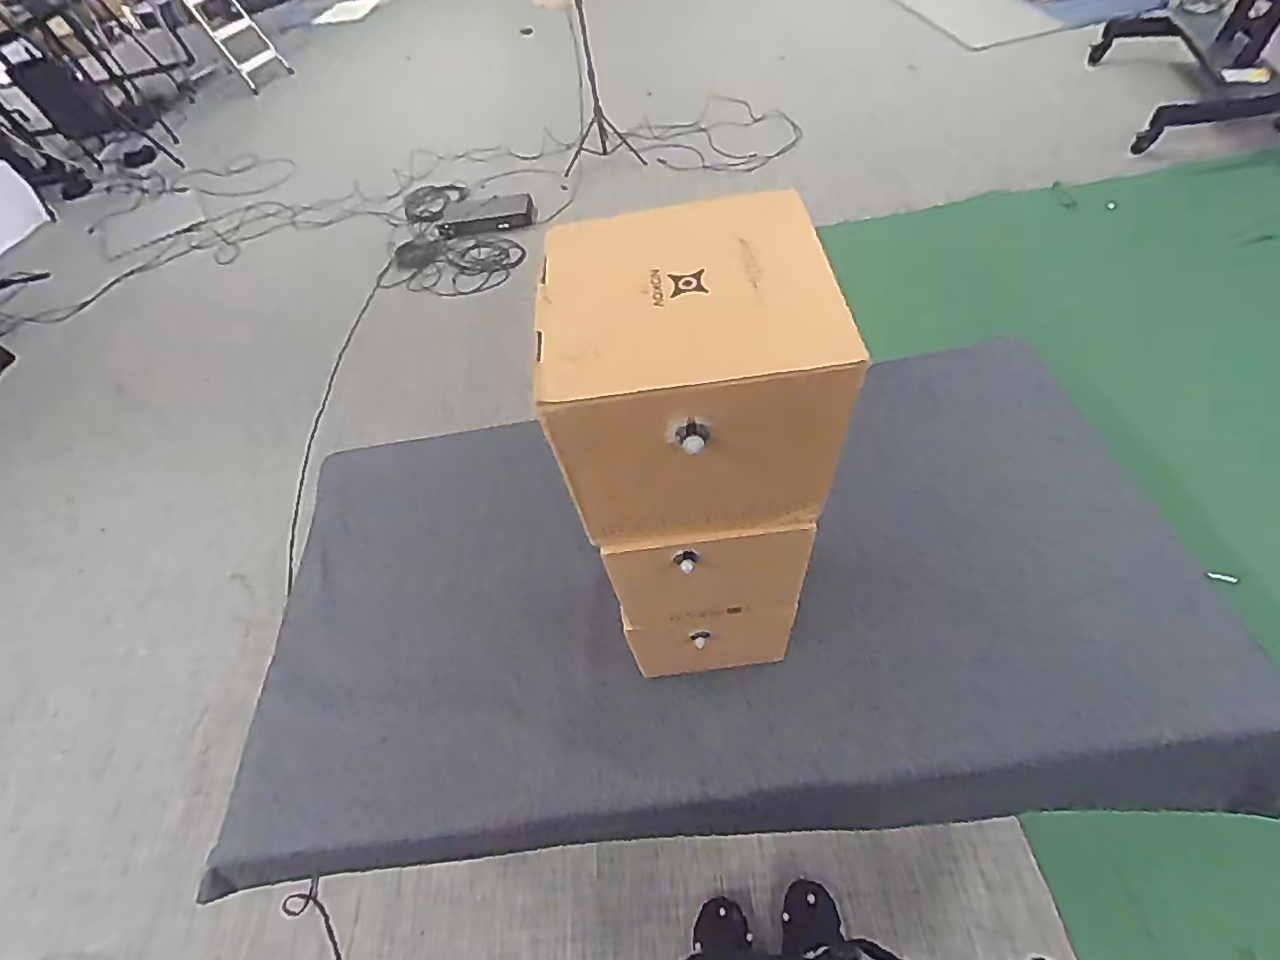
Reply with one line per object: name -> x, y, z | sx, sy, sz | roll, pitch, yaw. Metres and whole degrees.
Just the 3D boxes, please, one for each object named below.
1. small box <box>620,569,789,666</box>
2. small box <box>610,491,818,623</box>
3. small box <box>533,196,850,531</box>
small box -> 0.073, 0.116, 0.662 | 0.179, 0.176, 0.168 | -8, 54, 3
small box -> 0.057, 0.020, 0.533 | 0.168, 0.176, 0.179 | -9, 55, 2
small box -> 0.033, -0.074, 0.400 | 0.179, 0.176, 0.168 | -7, 56, 3
